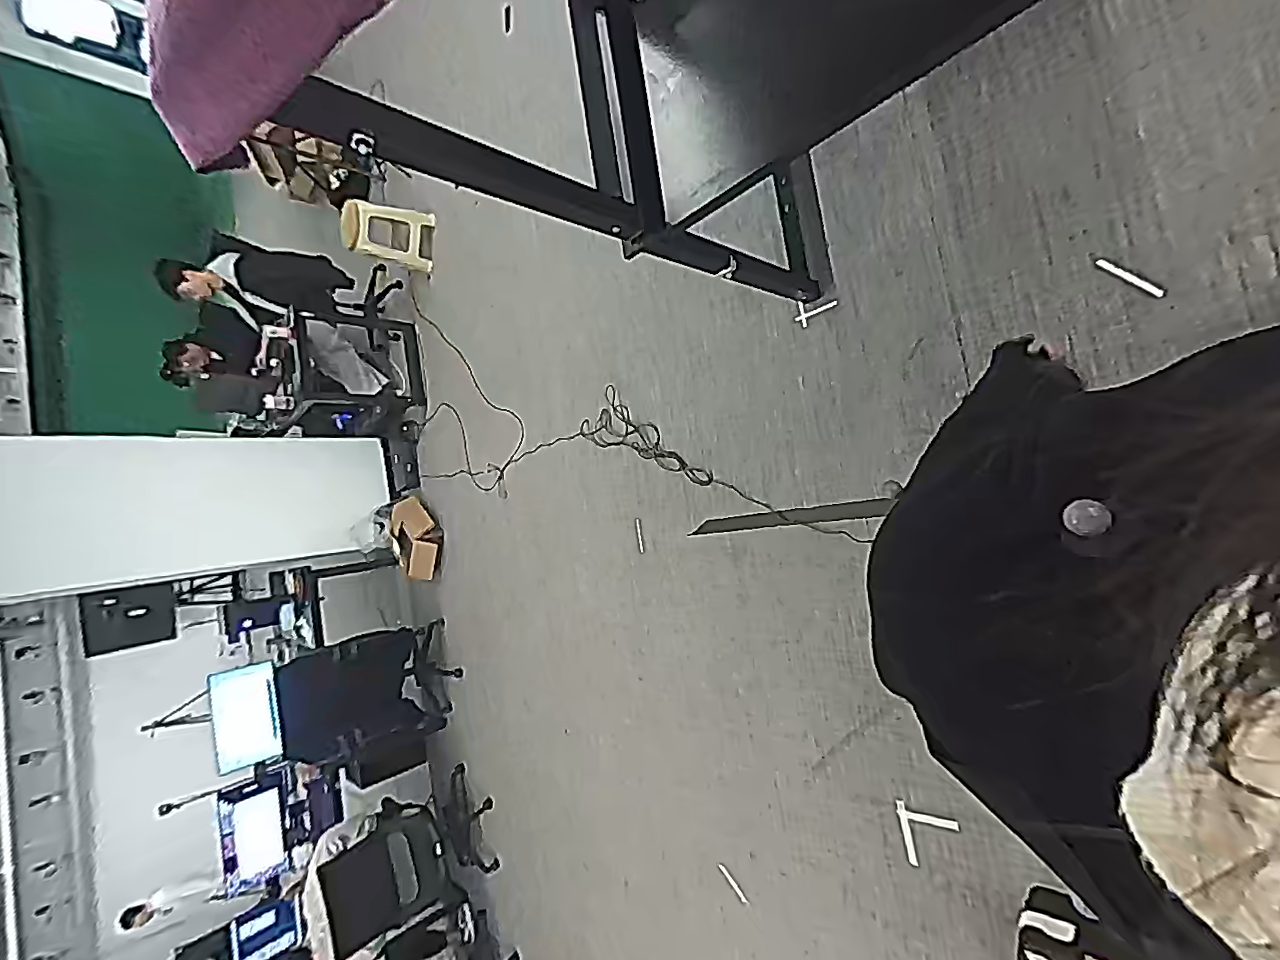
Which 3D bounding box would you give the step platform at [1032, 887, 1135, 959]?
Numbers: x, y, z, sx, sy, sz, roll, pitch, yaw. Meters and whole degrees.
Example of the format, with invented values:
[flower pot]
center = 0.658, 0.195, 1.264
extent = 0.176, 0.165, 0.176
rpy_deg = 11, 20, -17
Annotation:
[step platform]
center = 1.122, 1.072, 0.969
extent = 0.684, 0.204, 0.286
rpy_deg = -4, 90, 46
